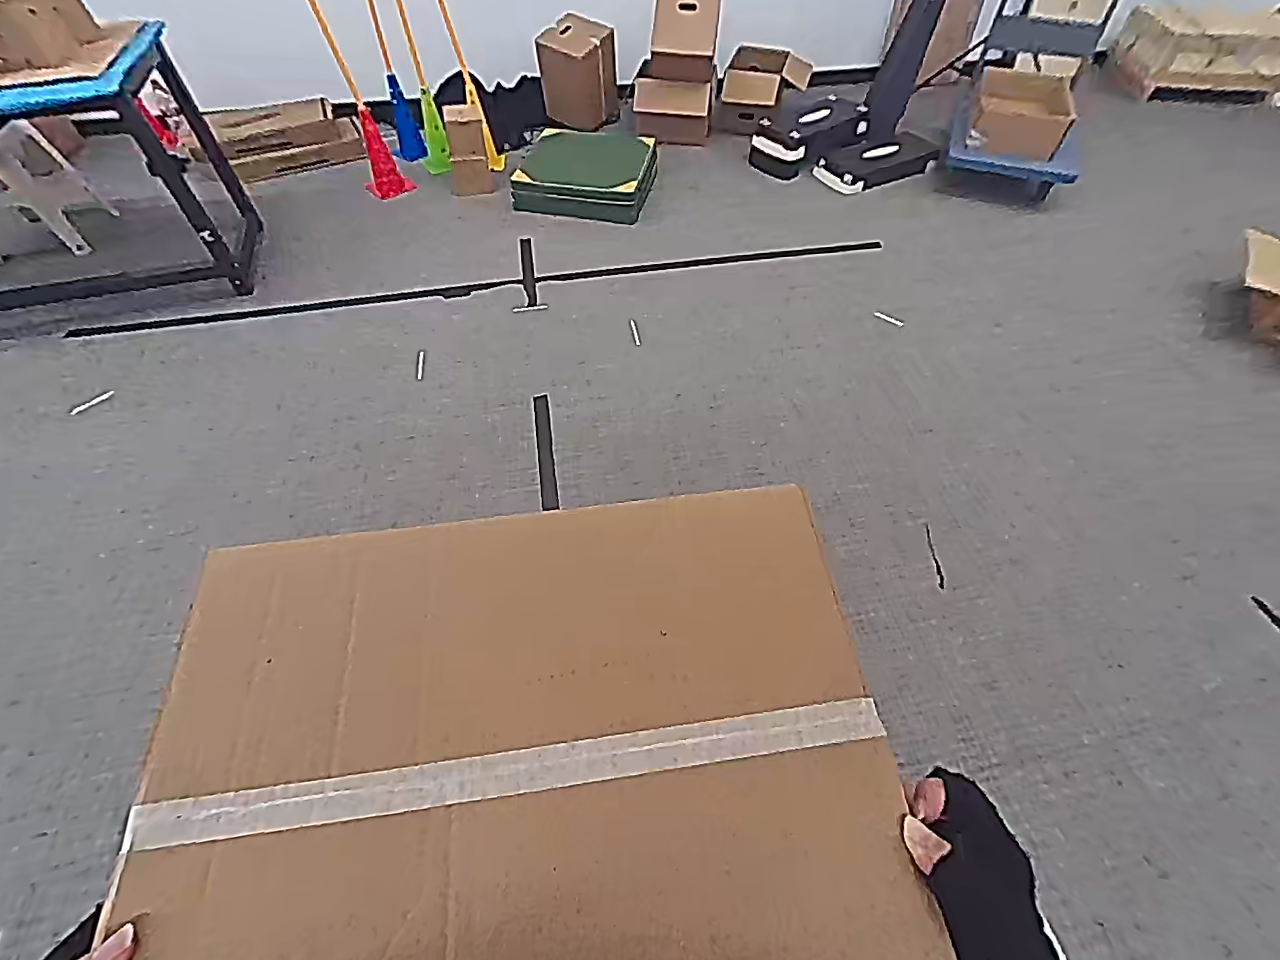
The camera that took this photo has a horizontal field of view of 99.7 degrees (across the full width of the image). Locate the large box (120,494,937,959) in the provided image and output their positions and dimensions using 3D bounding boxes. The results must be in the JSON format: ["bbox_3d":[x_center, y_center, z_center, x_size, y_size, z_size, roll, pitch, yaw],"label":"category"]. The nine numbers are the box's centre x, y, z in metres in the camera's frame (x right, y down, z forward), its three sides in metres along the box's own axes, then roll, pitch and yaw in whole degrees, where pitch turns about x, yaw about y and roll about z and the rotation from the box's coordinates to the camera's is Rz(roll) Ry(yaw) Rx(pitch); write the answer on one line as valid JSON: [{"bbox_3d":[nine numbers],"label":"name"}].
[{"bbox_3d":[-0.064,0.238,0.438,0.408,0.320,0.320,-7,60,-4],"label":"large box"}]
